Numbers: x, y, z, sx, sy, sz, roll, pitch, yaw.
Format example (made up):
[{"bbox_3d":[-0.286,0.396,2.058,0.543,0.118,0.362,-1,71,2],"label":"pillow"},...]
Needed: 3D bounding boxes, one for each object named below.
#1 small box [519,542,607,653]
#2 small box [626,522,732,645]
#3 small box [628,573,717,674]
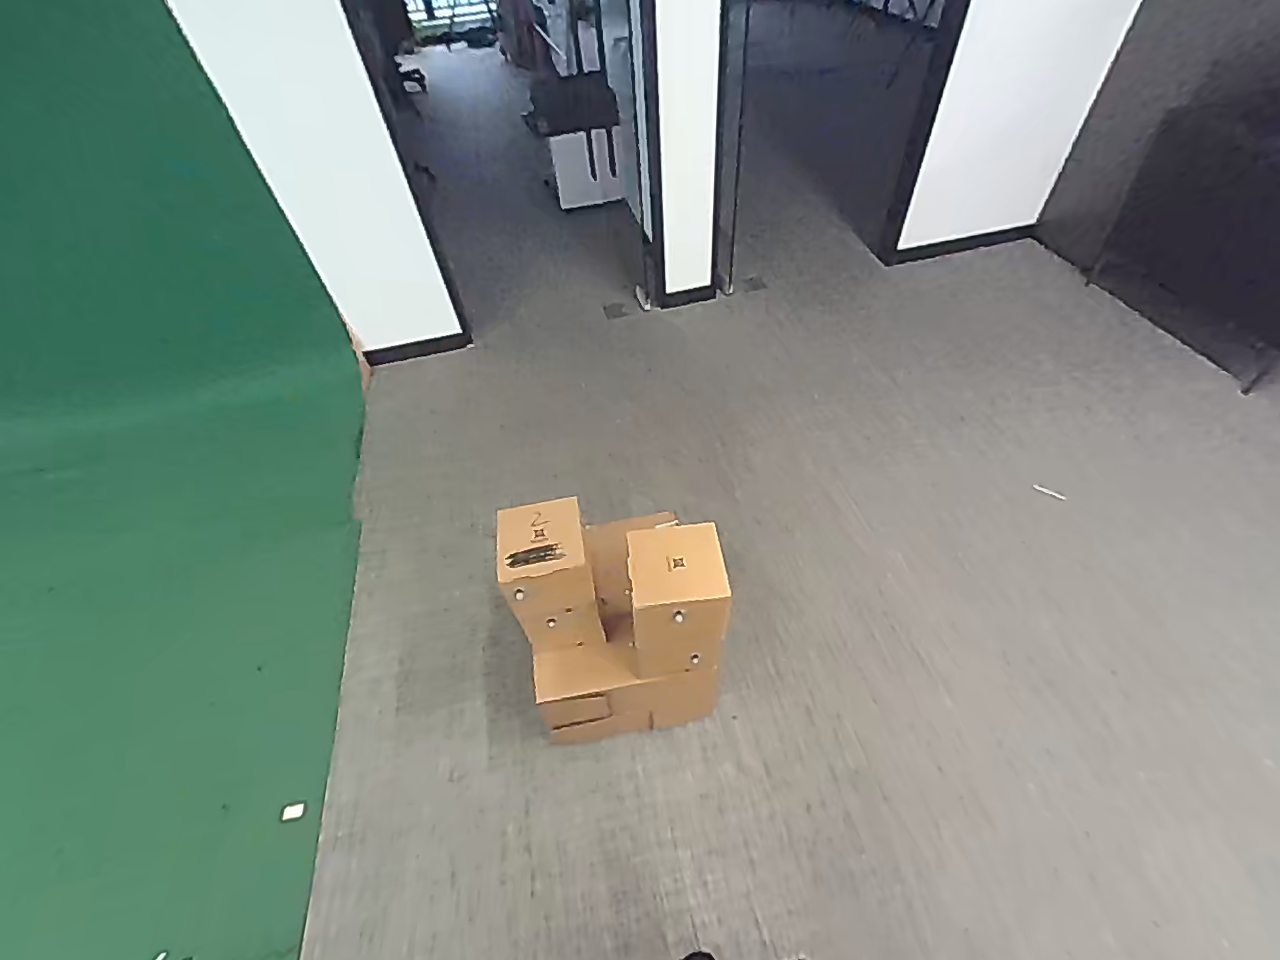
[{"bbox_3d":[-0.170,0.267,1.229,0.168,0.176,0.179,-9,47,-1],"label":"small box"},{"bbox_3d":[0.069,0.202,1.045,0.179,0.176,0.168,-7,49,-1],"label":"small box"},{"bbox_3d":[0.068,0.306,1.171,0.168,0.176,0.179,-7,47,-2],"label":"small box"}]
